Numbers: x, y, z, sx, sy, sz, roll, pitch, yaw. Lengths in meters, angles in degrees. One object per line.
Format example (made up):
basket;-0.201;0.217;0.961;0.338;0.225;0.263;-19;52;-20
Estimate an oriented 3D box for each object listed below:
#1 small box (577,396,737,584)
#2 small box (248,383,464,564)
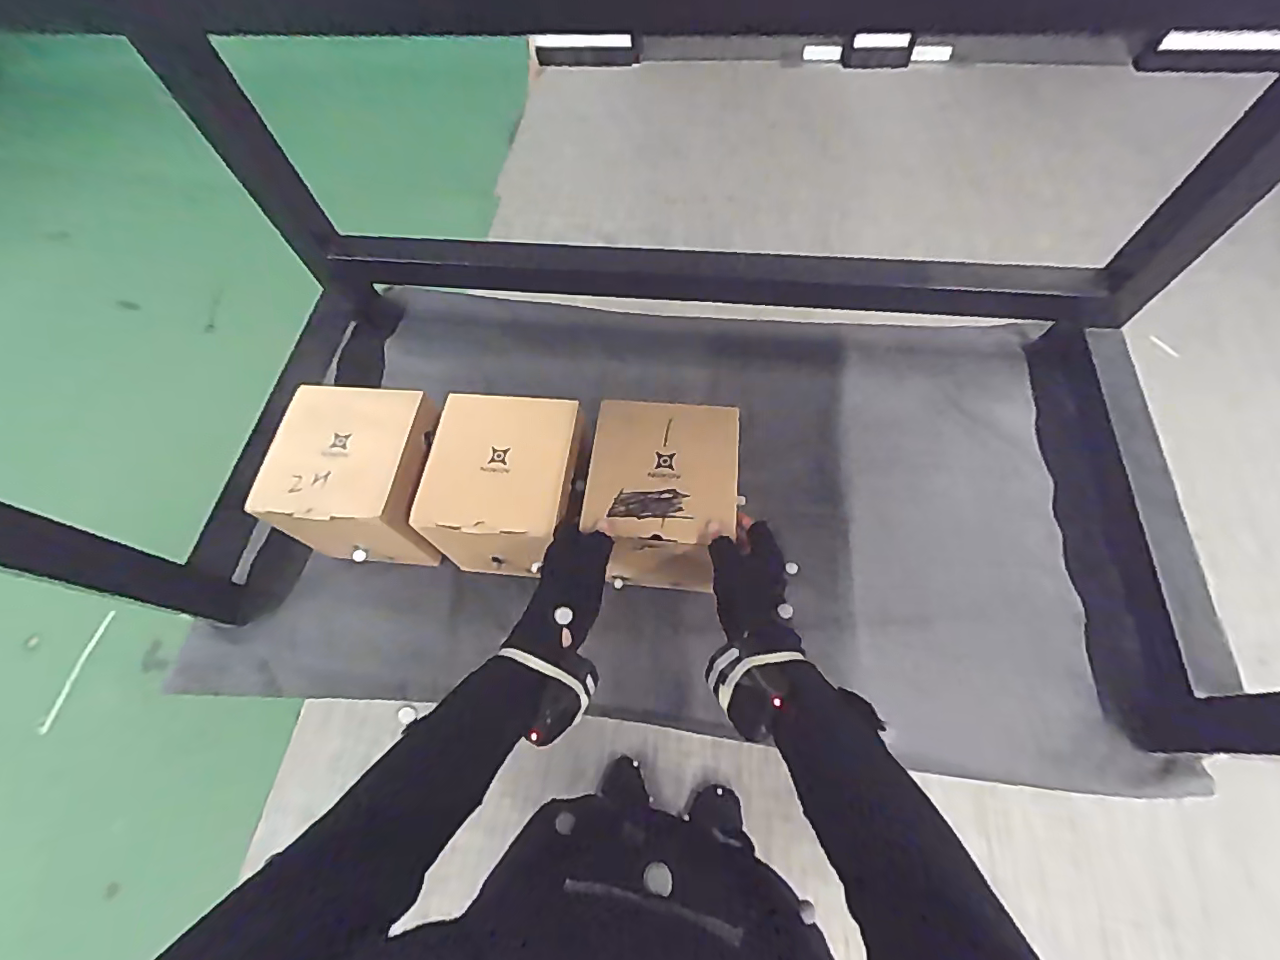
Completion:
small box;0.028;0.019;0.665;0.168;0.176;0.179;4;62;6
small box;-0.348;-0.005;0.708;0.168;0.176;0.179;3;64;6
